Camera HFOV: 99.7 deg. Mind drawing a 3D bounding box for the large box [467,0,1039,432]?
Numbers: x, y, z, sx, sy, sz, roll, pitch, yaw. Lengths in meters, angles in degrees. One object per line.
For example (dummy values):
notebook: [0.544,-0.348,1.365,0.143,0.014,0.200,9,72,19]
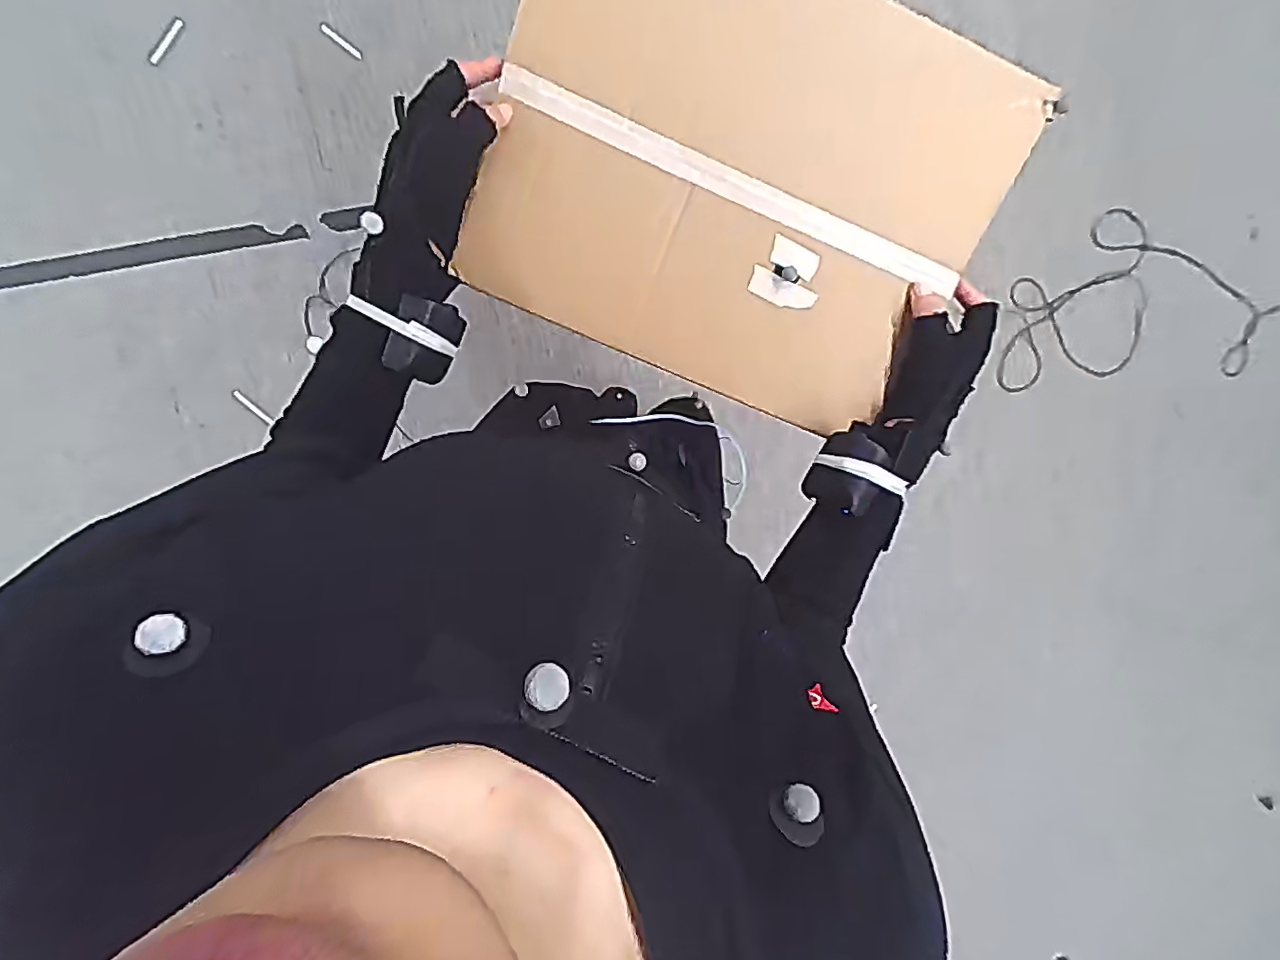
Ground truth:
large box: [0.083,-0.293,0.597,0.408,0.320,0.320,22,107,-7]
